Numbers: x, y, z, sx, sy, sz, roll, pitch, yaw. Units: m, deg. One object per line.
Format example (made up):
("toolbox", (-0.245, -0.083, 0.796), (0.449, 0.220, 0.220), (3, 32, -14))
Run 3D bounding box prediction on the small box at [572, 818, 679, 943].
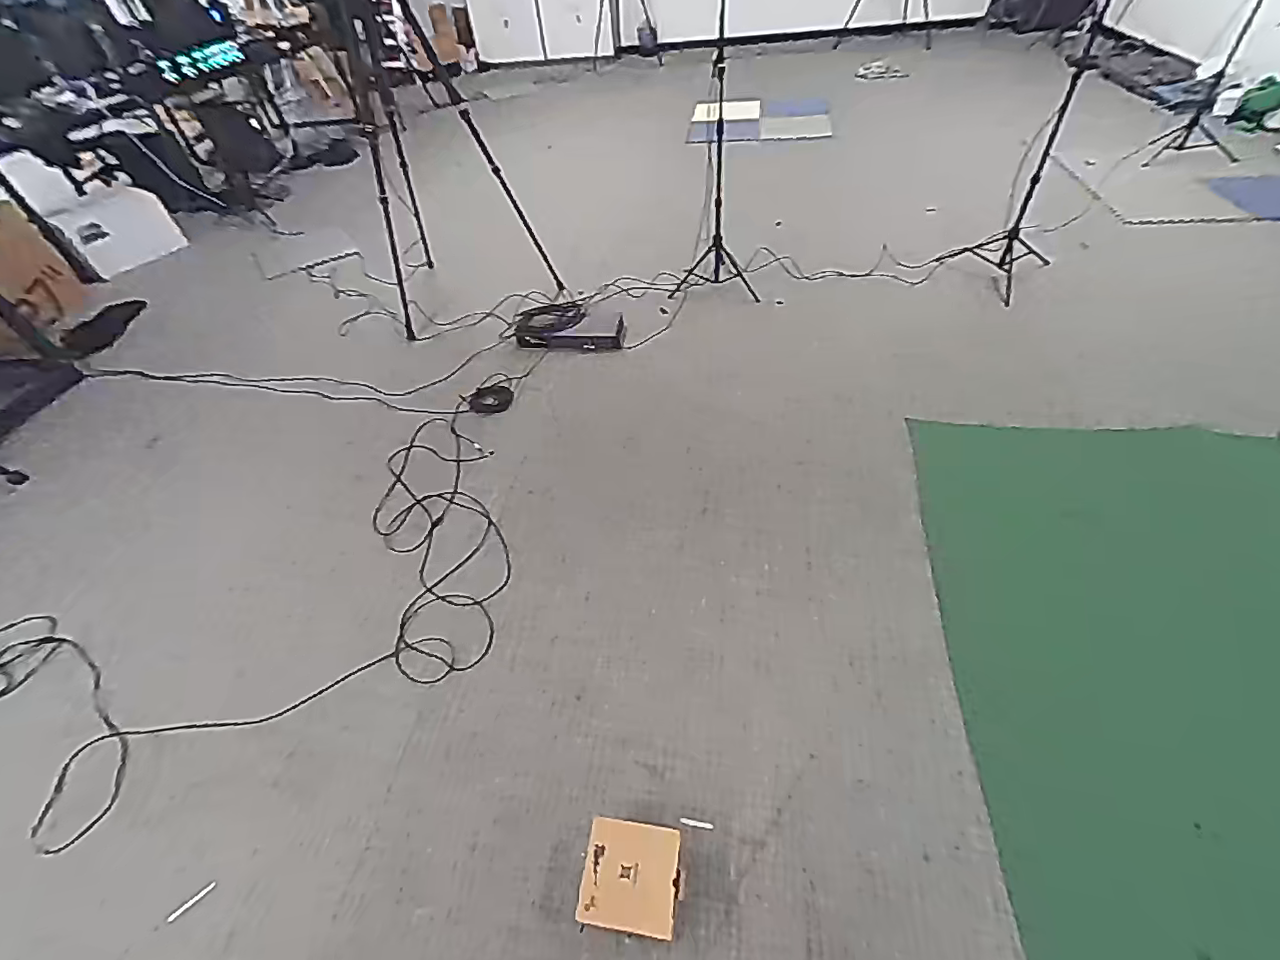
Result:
("small box", (-0.018, 0.781, 1.055), (0.179, 0.176, 0.168), (4, 49, 9))
